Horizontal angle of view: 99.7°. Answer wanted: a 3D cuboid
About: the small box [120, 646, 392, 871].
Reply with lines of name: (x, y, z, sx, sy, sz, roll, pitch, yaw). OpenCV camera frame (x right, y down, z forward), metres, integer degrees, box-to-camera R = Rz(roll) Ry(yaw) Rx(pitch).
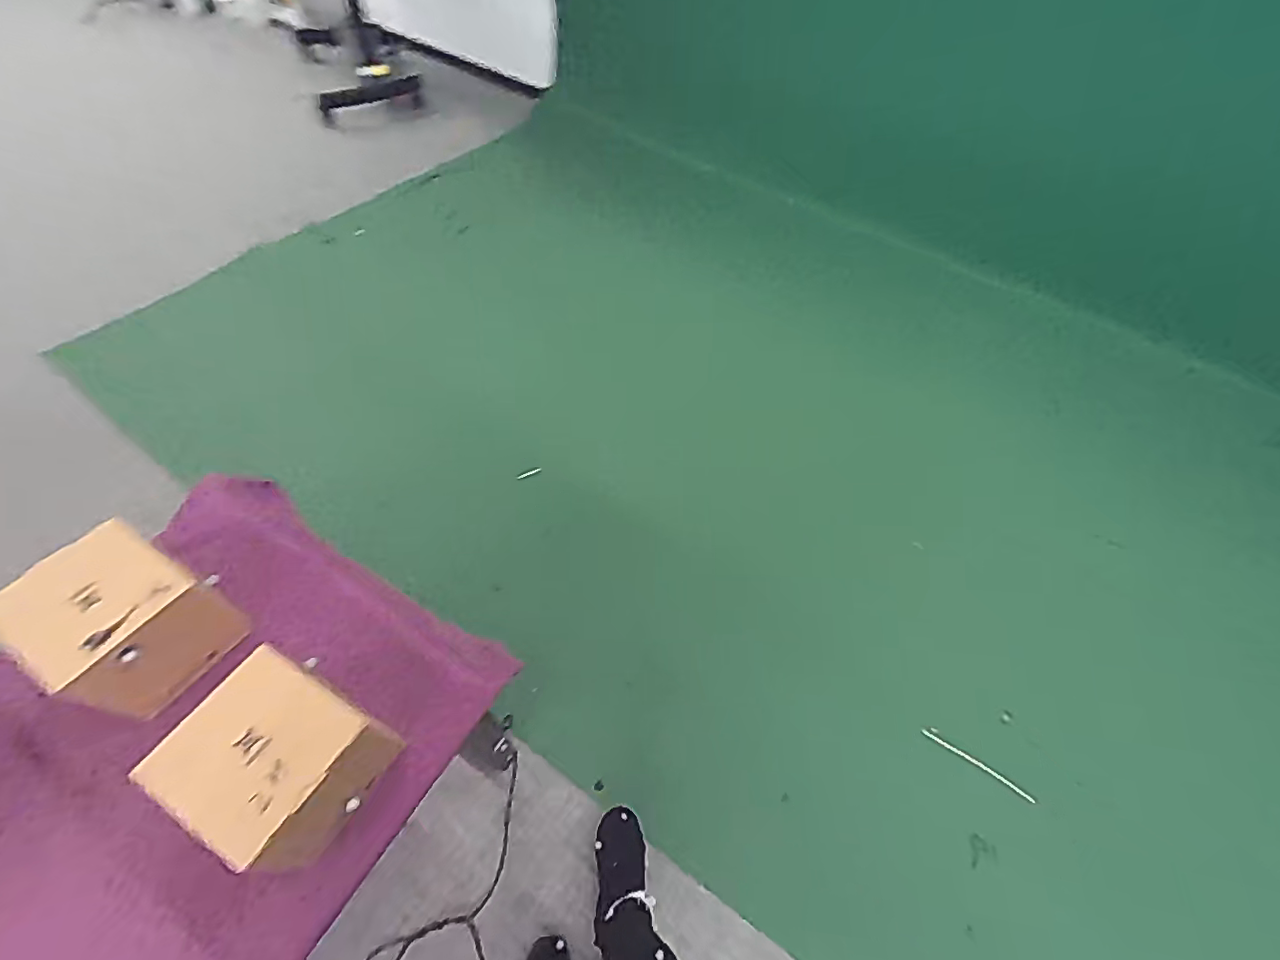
small box: (-0.443, 0.338, 0.656, 0.179, 0.176, 0.168, 28, 58, 13)

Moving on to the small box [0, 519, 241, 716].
small box: (-0.705, 0.191, 0.732, 0.179, 0.176, 0.168, 30, 58, 14)
